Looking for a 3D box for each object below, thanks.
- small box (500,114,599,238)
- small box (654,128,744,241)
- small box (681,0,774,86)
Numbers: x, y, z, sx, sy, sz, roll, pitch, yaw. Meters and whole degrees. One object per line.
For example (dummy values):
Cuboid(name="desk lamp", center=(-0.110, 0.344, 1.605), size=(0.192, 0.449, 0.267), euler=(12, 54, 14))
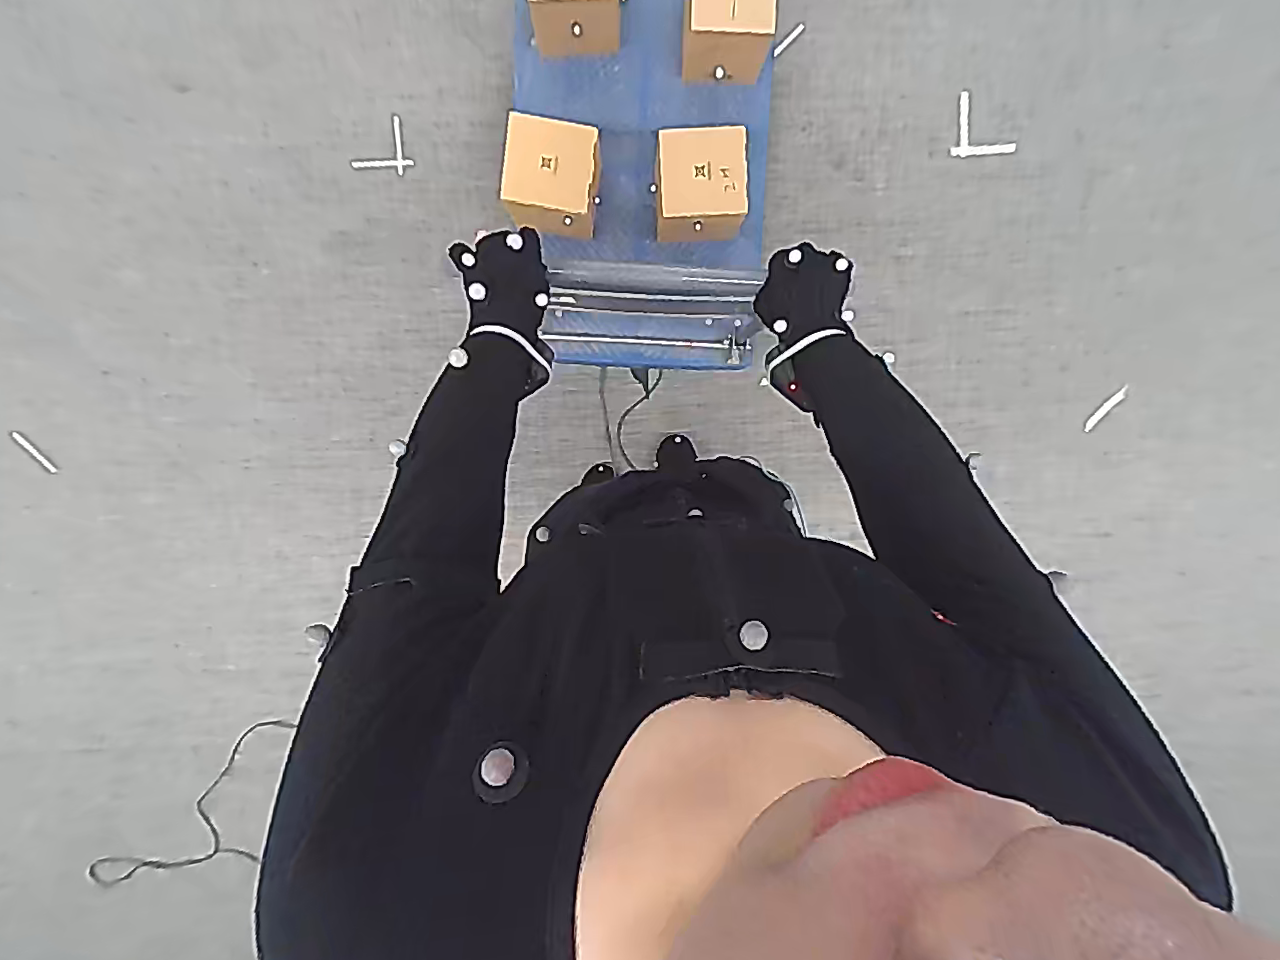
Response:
Cuboid(name="small box", center=(-0.186, -0.634, 1.150), size=(0.179, 0.176, 0.168), euler=(8, 96, -4))
Cuboid(name="small box", center=(0.120, -0.624, 1.161), size=(0.179, 0.176, 0.168), euler=(-3, 98, -2))
Cuboid(name="small box", center=(0.175, -0.963, 1.119), size=(0.168, 0.176, 0.179), euler=(1, 98, -2))
